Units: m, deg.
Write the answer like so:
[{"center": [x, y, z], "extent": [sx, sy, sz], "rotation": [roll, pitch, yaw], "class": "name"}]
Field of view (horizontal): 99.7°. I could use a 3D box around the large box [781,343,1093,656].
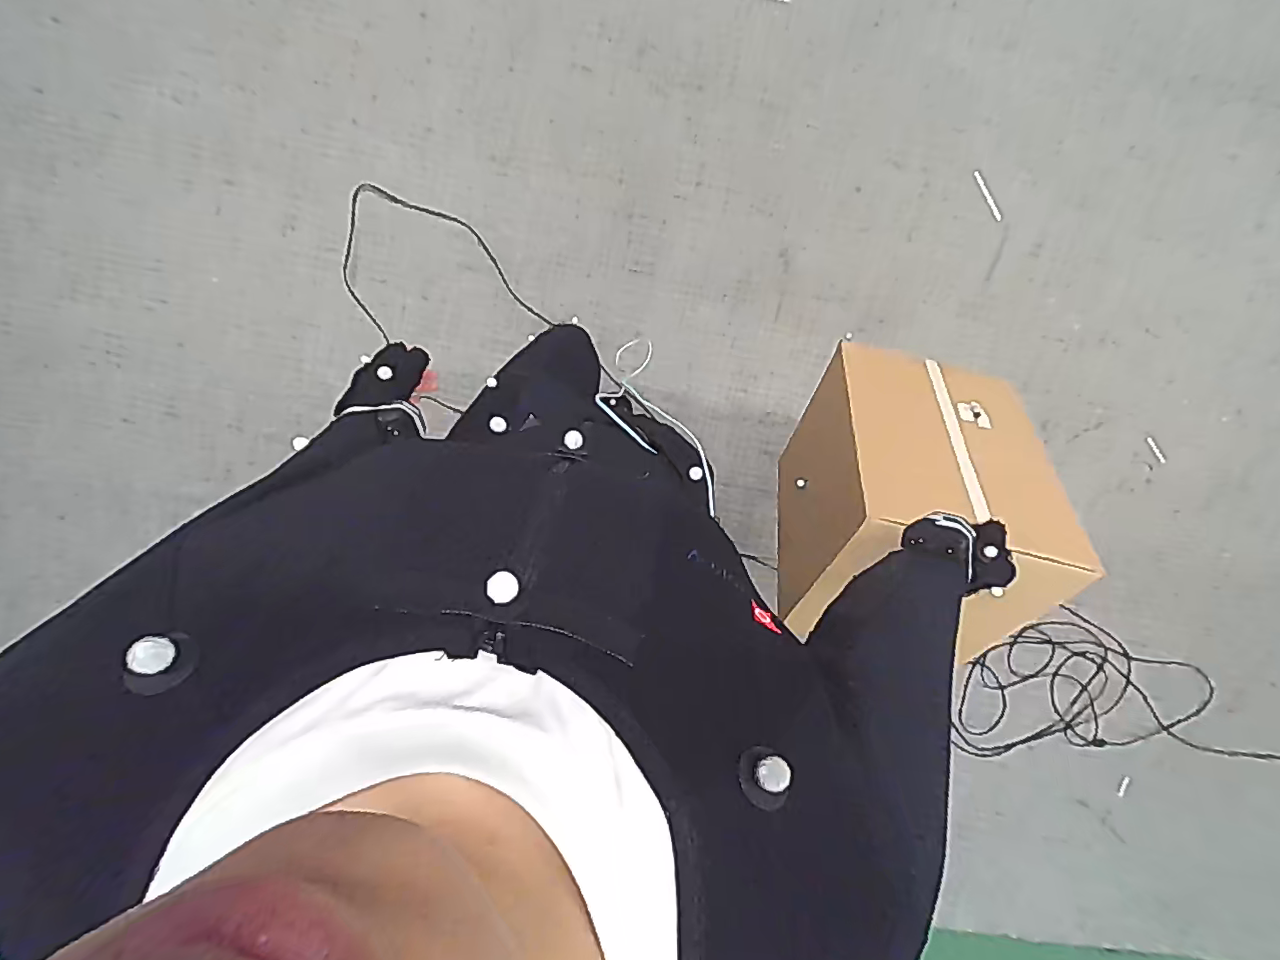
[{"center": [0.444, 0.032, 0.933], "extent": [0.320, 0.408, 0.320], "rotation": [14, 138, -1], "class": "large box"}]
